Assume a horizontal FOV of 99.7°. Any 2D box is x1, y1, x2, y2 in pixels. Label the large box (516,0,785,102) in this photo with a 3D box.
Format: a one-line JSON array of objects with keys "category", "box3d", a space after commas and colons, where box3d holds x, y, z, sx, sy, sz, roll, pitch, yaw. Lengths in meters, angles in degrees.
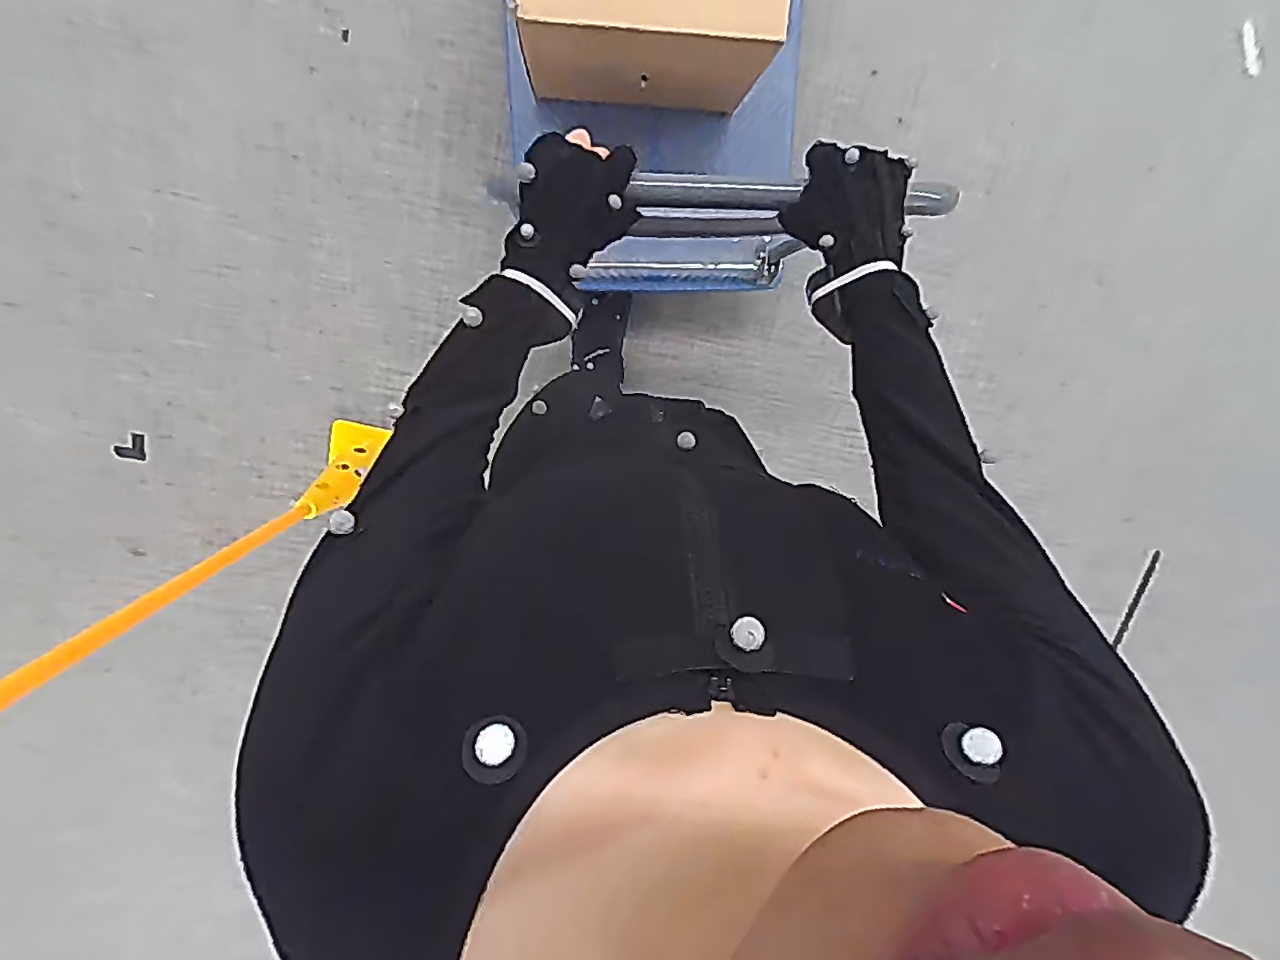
[{"category": "large box", "box3d": [0.011, -0.861, 0.895, 0.408, 0.320, 0.320, 0, 107, -5]}]
